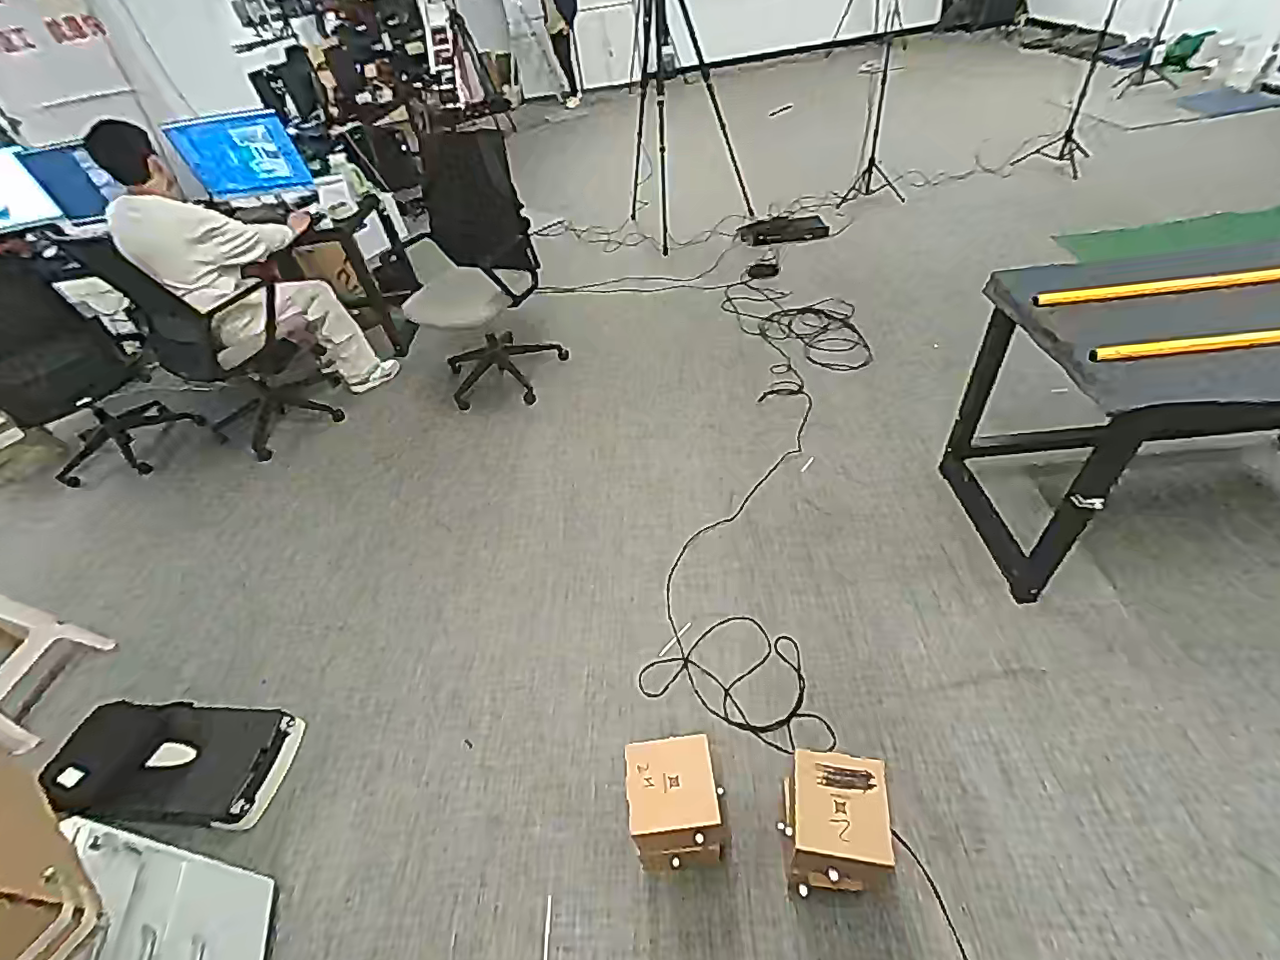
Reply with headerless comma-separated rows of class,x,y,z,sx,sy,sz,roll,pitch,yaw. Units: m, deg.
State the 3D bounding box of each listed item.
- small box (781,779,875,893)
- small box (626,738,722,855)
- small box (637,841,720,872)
small box,0.399,0.777,1.177,0.168,0.176,0.179,-2,44,9
small box,0.071,0.659,1.123,0.179,0.176,0.168,-9,44,3
small box,0.086,0.779,1.236,0.179,0.176,0.168,-8,45,3
